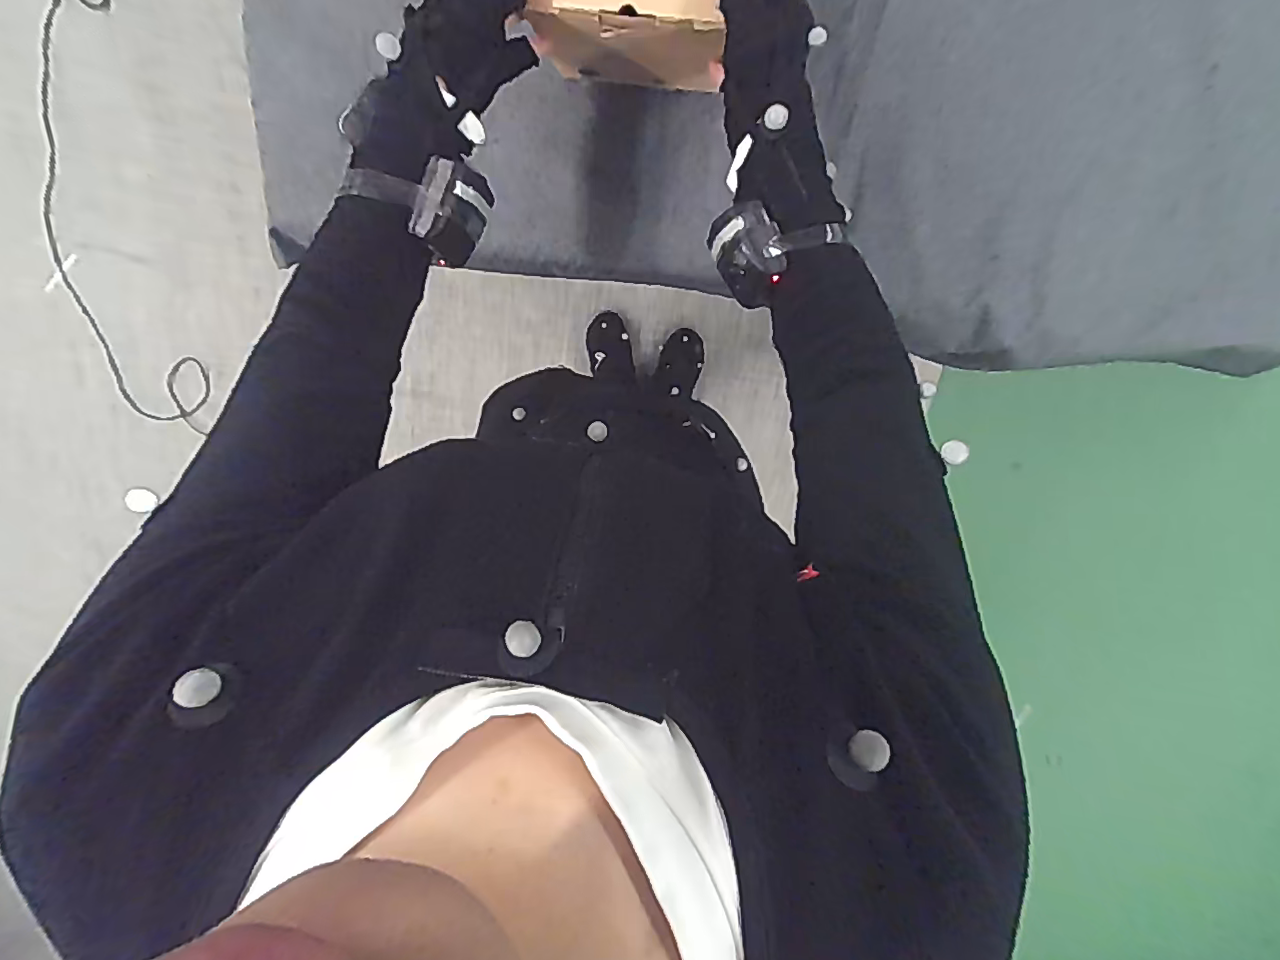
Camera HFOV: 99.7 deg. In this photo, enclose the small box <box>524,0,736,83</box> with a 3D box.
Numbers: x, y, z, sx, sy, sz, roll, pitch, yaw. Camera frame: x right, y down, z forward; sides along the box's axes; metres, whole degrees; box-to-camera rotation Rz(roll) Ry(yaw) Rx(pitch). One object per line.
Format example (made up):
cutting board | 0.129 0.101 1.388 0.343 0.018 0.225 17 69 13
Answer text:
small box | 0.005 -0.460 0.450 0.168 0.176 0.179 6 112 1
